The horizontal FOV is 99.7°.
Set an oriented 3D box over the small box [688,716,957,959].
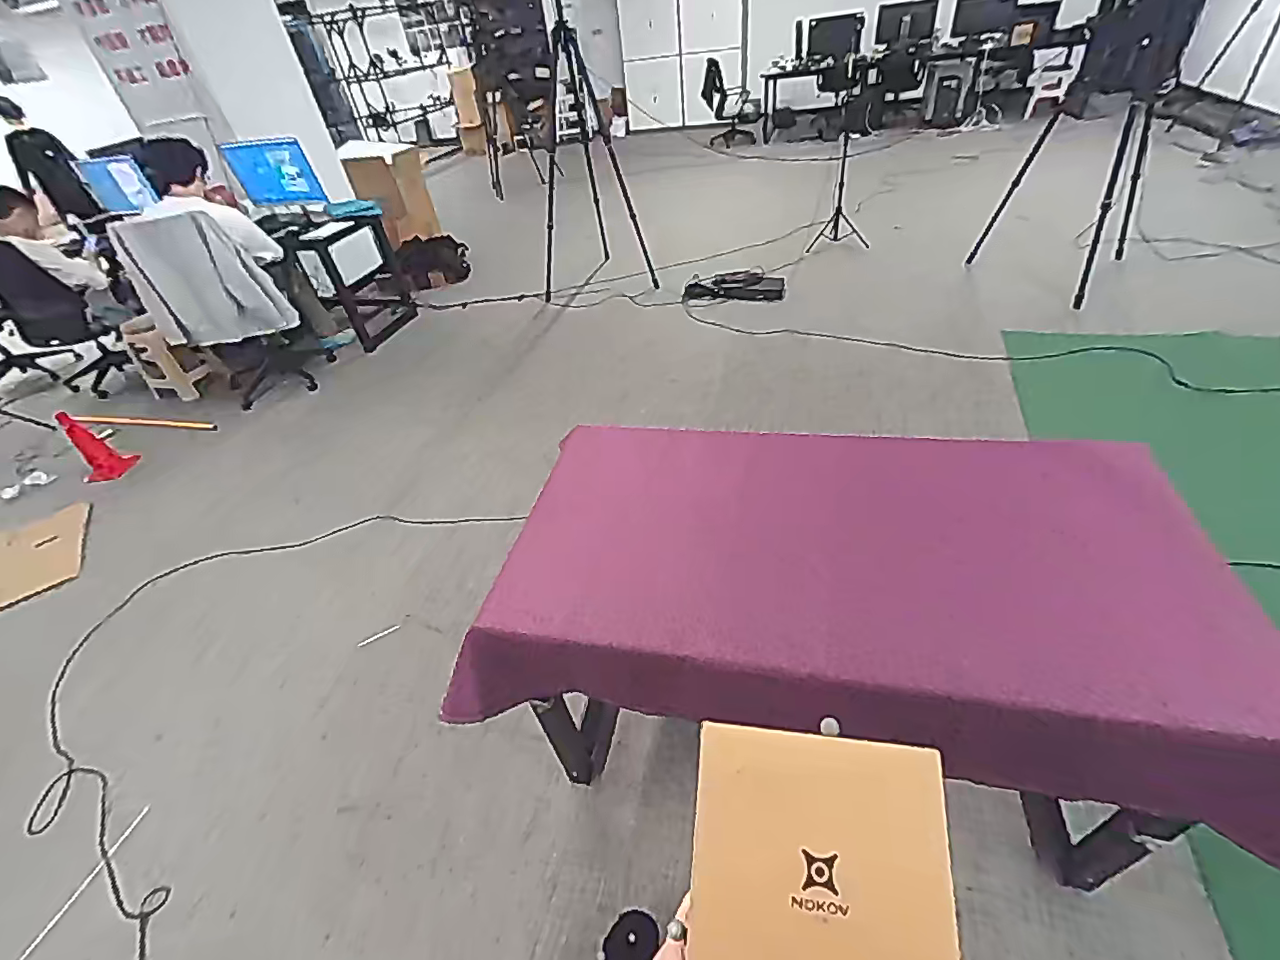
[{"bbox_3d":[0.126,0.291,0.428,0.168,0.176,0.179,3,67,9],"label":"small box"}]
